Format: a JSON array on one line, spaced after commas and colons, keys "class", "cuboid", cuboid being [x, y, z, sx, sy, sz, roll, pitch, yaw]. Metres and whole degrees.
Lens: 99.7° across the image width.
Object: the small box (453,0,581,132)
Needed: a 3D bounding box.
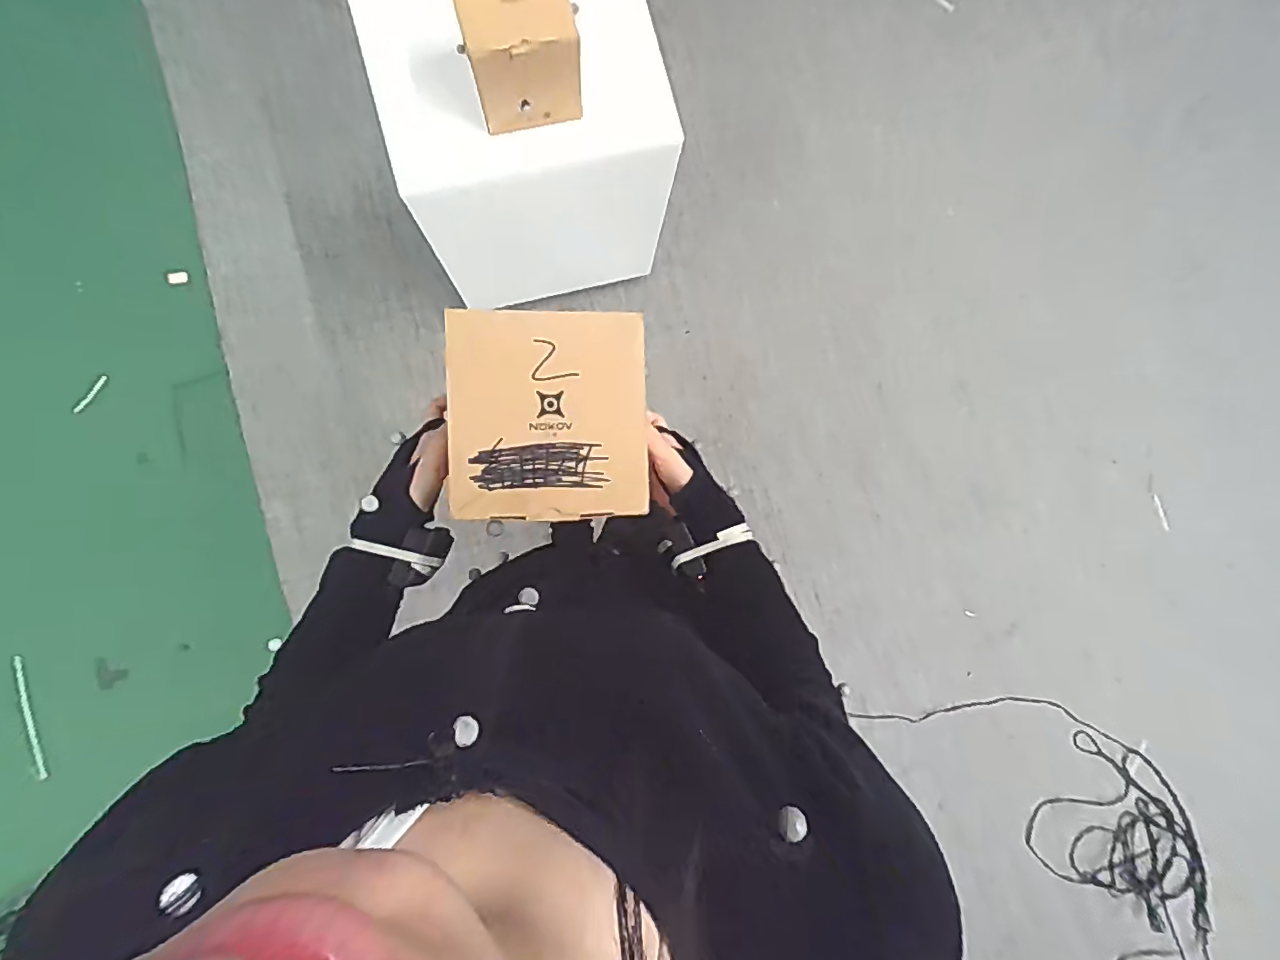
[{"class": "small box", "cuboid": [-0.194, -0.697, 0.852, 0.168, 0.176, 0.179, -16, 88, -6]}]
